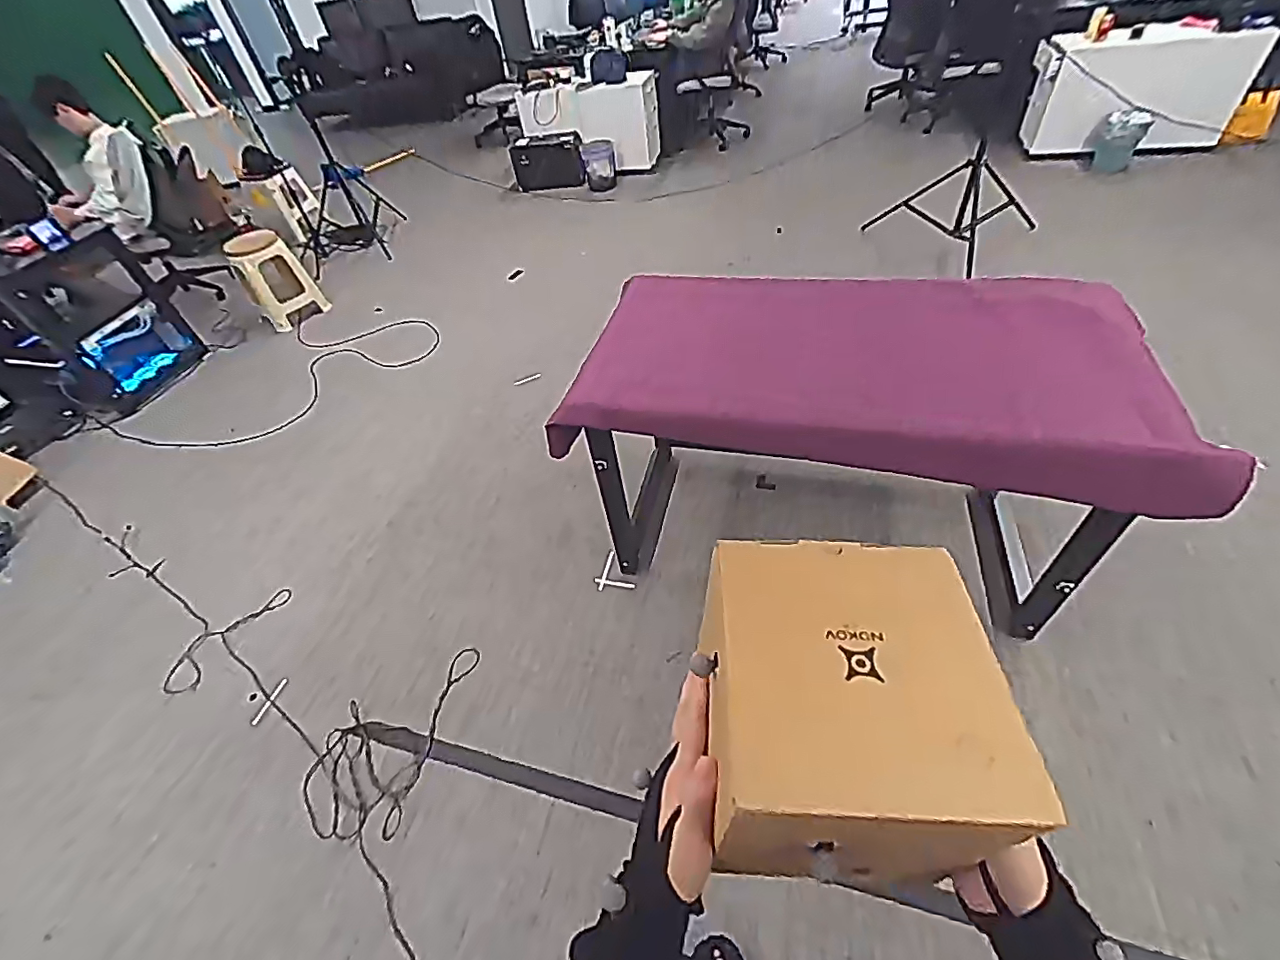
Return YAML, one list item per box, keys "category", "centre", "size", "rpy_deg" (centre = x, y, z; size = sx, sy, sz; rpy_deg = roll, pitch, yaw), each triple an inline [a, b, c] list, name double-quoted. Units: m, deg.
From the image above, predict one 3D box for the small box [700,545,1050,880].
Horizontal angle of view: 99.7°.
- category: "small box"
  centre: [0.133, 0.168, 0.391]
  size: [0.168, 0.176, 0.179]
  rpy_deg: [2, 44, 2]
